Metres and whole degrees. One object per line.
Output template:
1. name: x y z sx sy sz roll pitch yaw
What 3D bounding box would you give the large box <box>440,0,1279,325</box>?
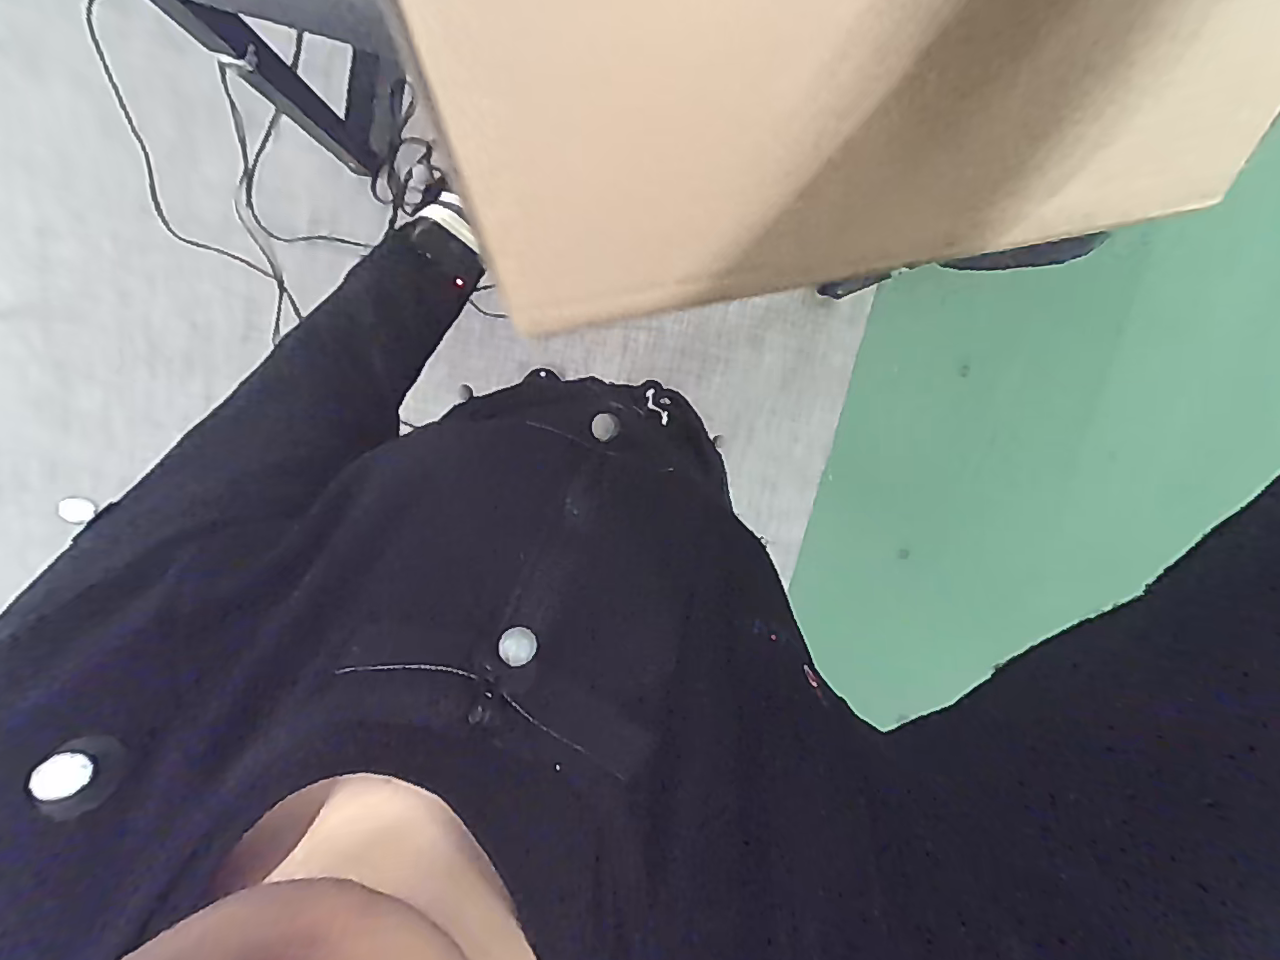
1. large box: 0.048 -0.341 0.252 0.320 0.408 0.320 -13 141 0
